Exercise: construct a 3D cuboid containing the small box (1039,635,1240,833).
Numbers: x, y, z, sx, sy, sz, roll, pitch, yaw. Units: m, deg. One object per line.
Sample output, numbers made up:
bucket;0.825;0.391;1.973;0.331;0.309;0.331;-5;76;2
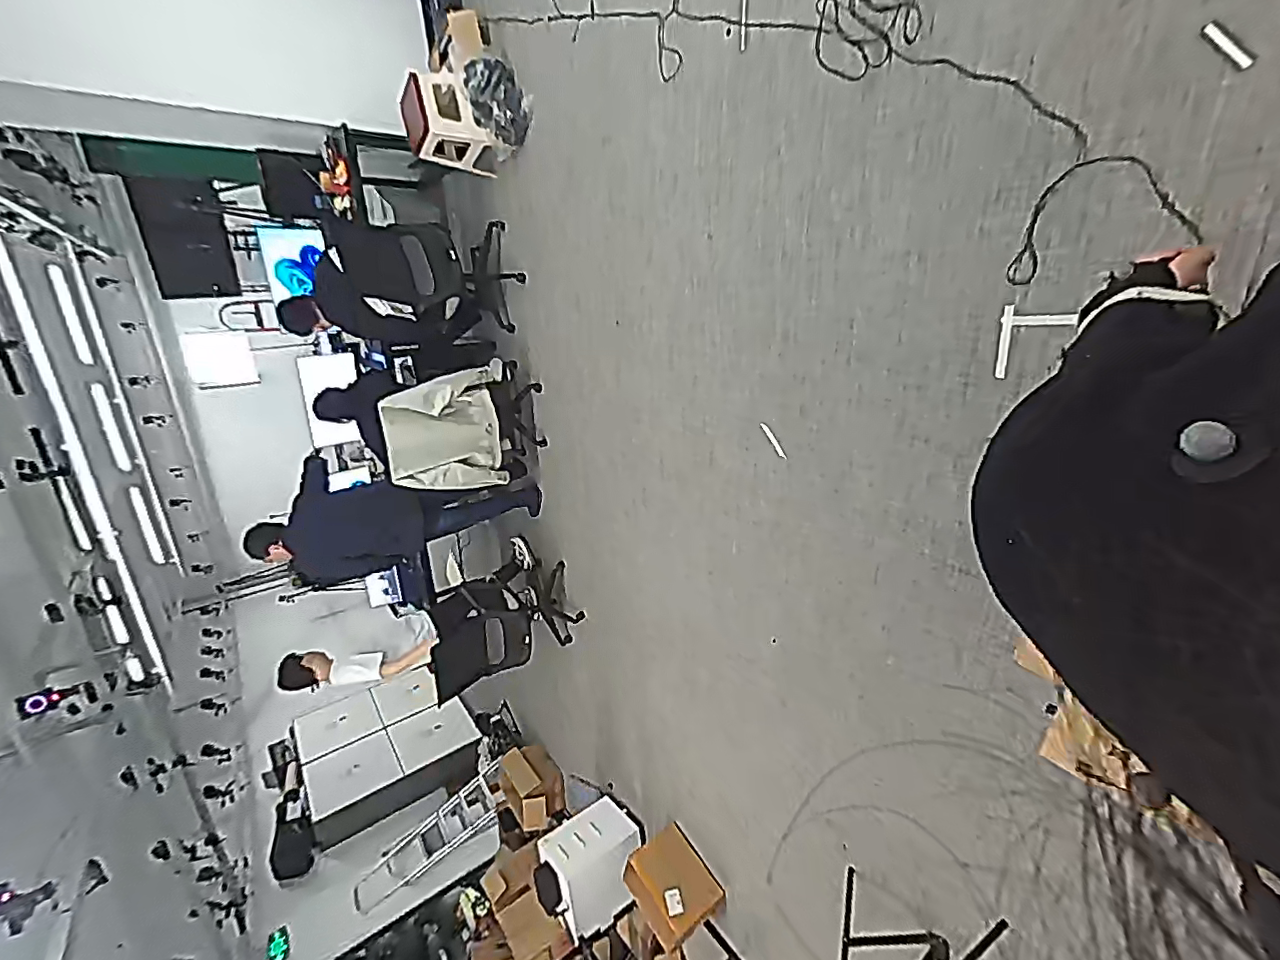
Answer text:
small box;0.750;0.365;0.814;0.168;0.176;0.179;28;125;47
